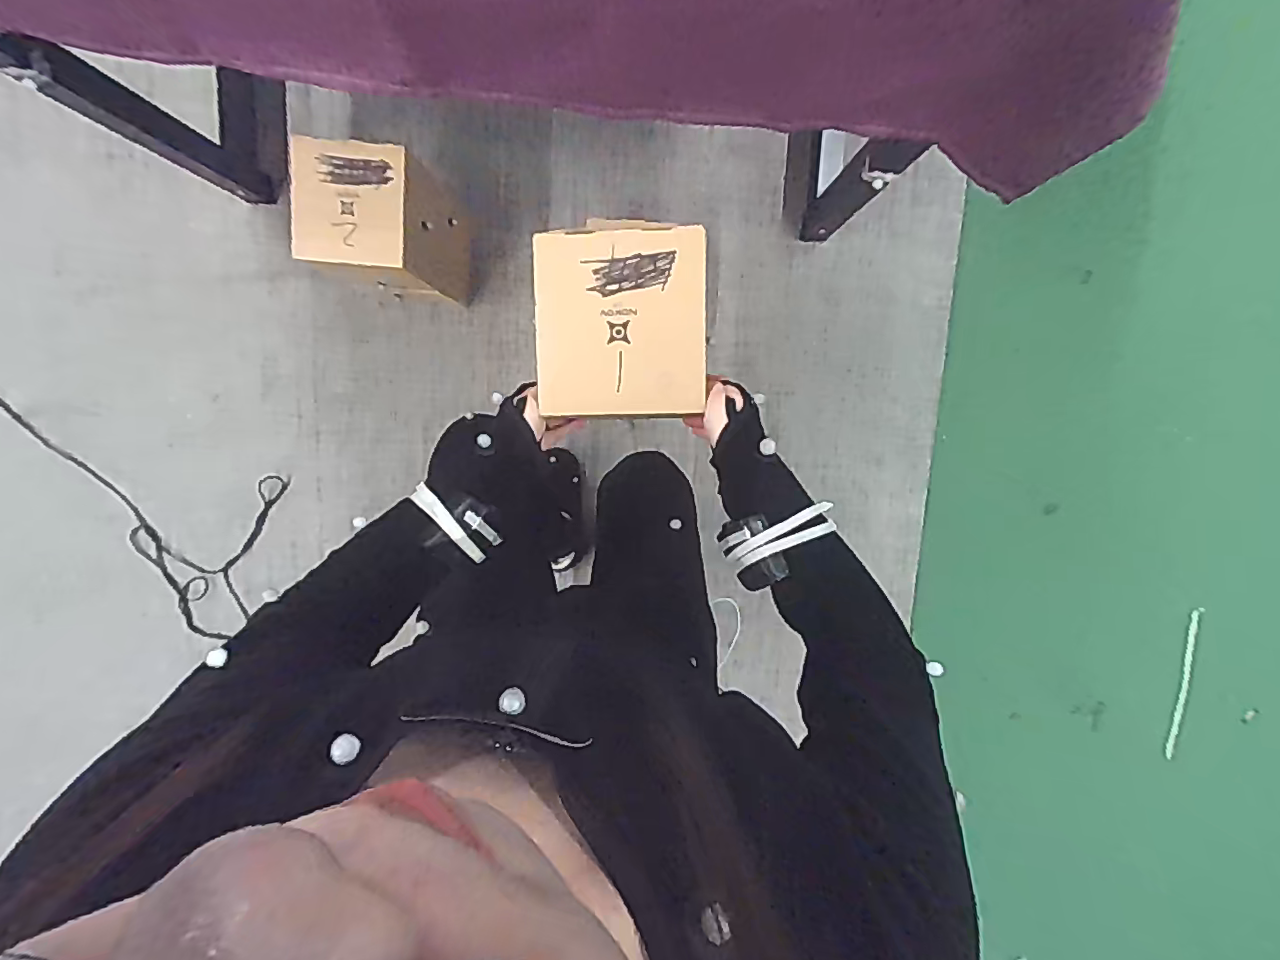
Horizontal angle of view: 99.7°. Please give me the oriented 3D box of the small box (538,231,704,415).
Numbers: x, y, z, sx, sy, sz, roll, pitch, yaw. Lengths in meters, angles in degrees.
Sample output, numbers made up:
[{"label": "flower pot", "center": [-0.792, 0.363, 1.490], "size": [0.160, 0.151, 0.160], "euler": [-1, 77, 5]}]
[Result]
[{"label": "small box", "center": [-0.015, -0.164, 0.614], "size": [0.168, 0.176, 0.179], "euler": [1, 97, 5]}]
